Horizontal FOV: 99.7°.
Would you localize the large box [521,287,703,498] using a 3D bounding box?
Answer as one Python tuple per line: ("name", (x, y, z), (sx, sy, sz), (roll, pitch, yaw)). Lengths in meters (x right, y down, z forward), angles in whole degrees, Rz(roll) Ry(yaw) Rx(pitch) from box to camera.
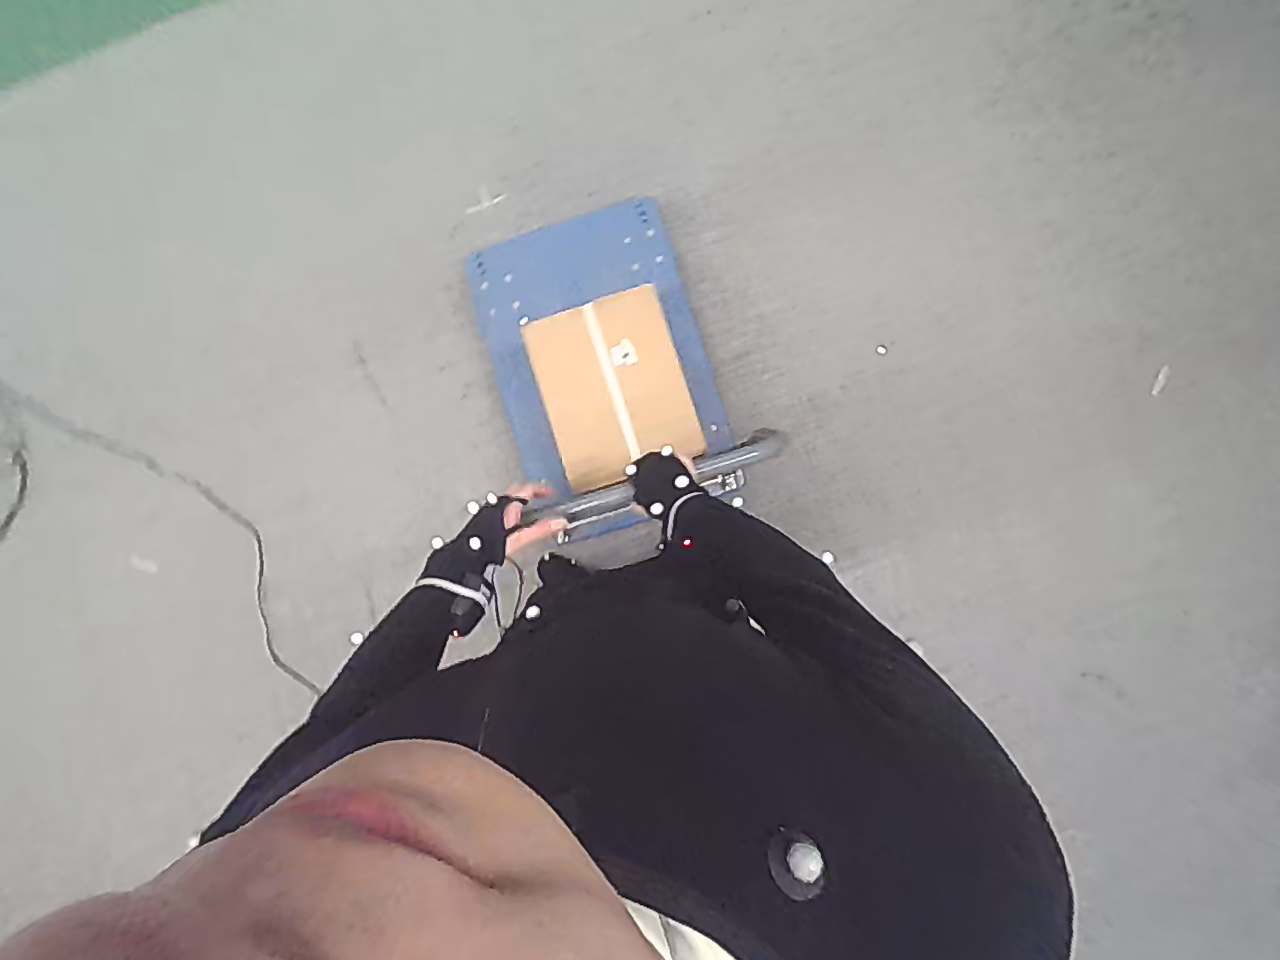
("large box", (-0.057, -0.194, 1.355), (0.320, 0.320, 0.408), (-18, 86, 0))
